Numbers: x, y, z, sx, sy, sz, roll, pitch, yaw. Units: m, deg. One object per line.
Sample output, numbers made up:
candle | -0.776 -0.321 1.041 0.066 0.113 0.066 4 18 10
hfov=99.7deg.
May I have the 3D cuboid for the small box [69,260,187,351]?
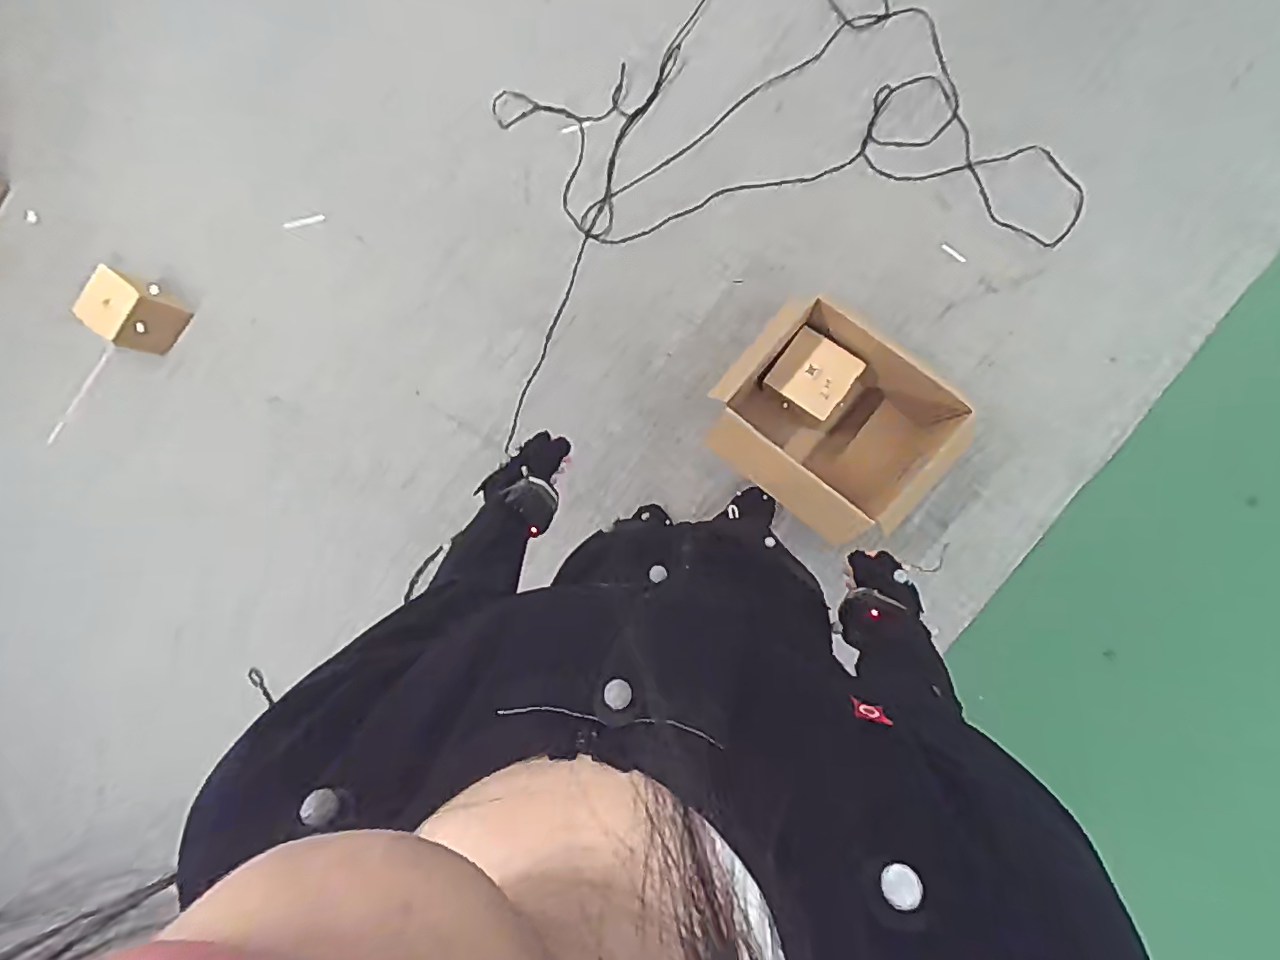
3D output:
small box | -1.523 -0.515 1.623 0.168 0.176 0.179 37 95 6
